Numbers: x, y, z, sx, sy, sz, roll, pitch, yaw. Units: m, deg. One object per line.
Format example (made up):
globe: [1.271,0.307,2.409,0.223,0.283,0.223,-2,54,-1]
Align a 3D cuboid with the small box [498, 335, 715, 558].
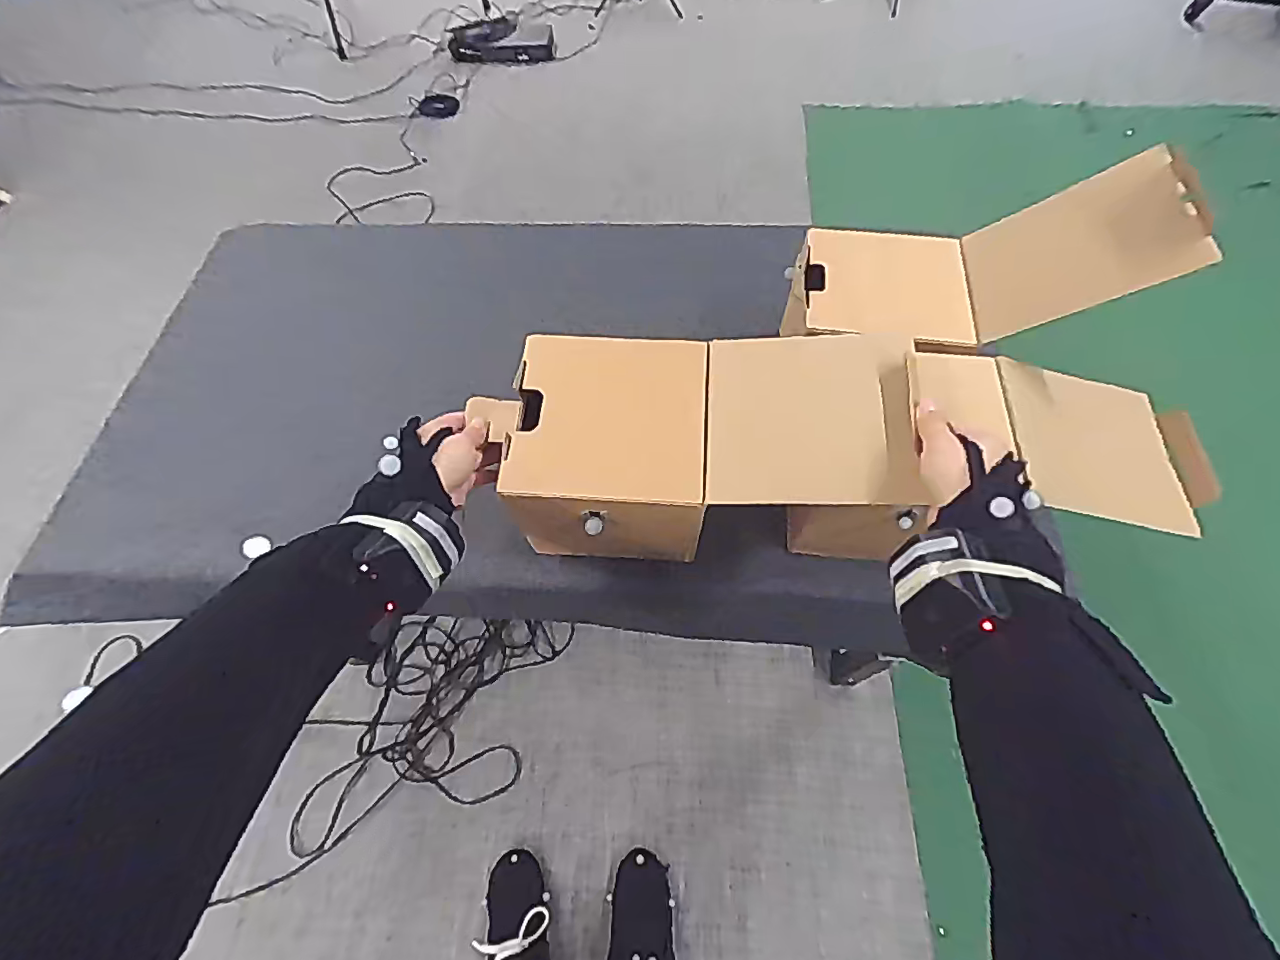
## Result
small box: [-0.021,-0.024,0.543,0.179,0.176,0.168,3,66,5]
